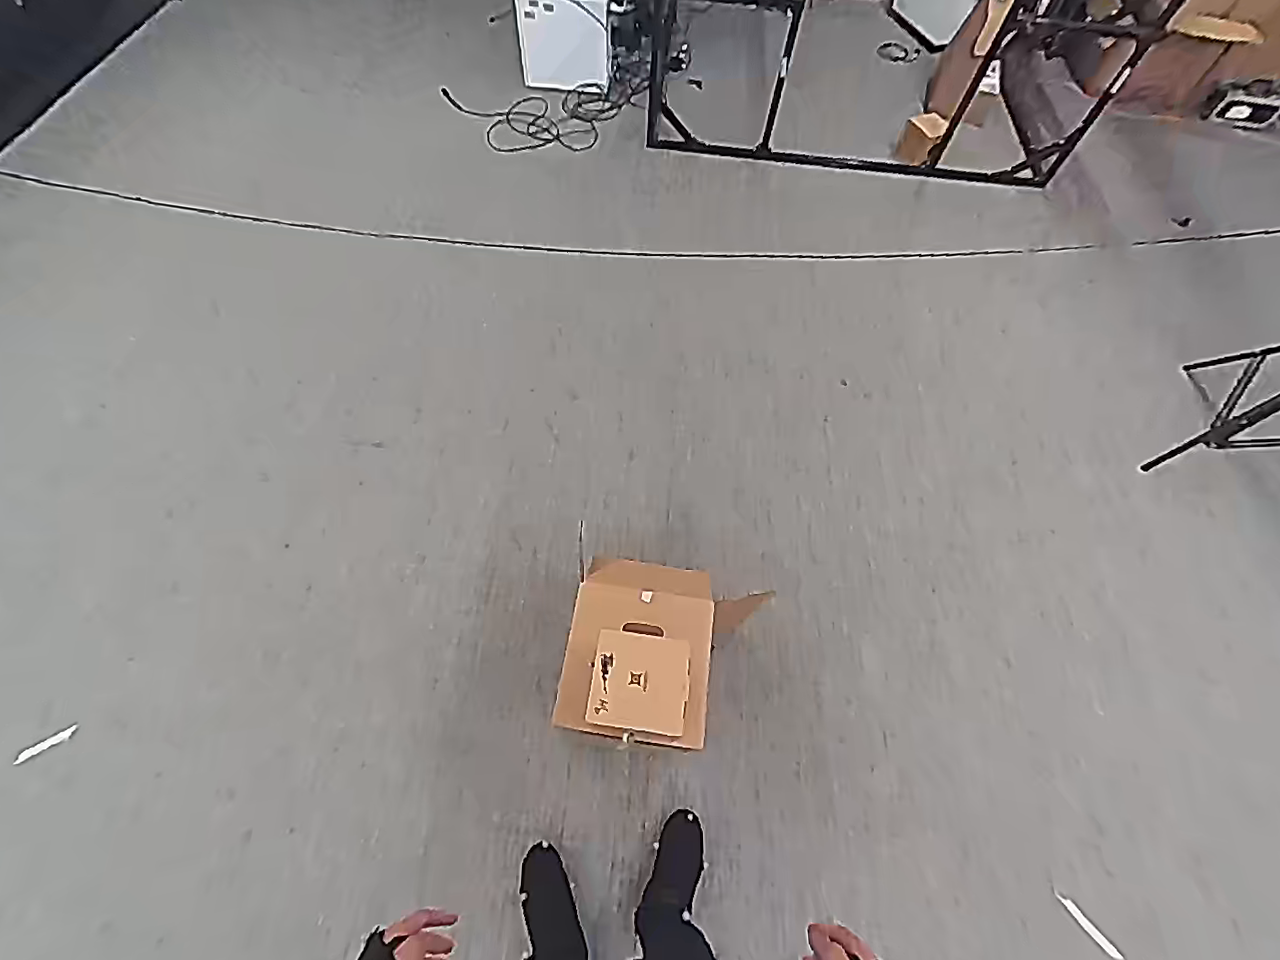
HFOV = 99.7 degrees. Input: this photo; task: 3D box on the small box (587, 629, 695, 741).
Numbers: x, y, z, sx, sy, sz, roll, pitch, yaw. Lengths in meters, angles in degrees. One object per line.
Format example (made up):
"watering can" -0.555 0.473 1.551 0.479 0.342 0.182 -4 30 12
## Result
"small box" 0.000 0.398 1.040 0.179 0.176 0.168 9 62 1
